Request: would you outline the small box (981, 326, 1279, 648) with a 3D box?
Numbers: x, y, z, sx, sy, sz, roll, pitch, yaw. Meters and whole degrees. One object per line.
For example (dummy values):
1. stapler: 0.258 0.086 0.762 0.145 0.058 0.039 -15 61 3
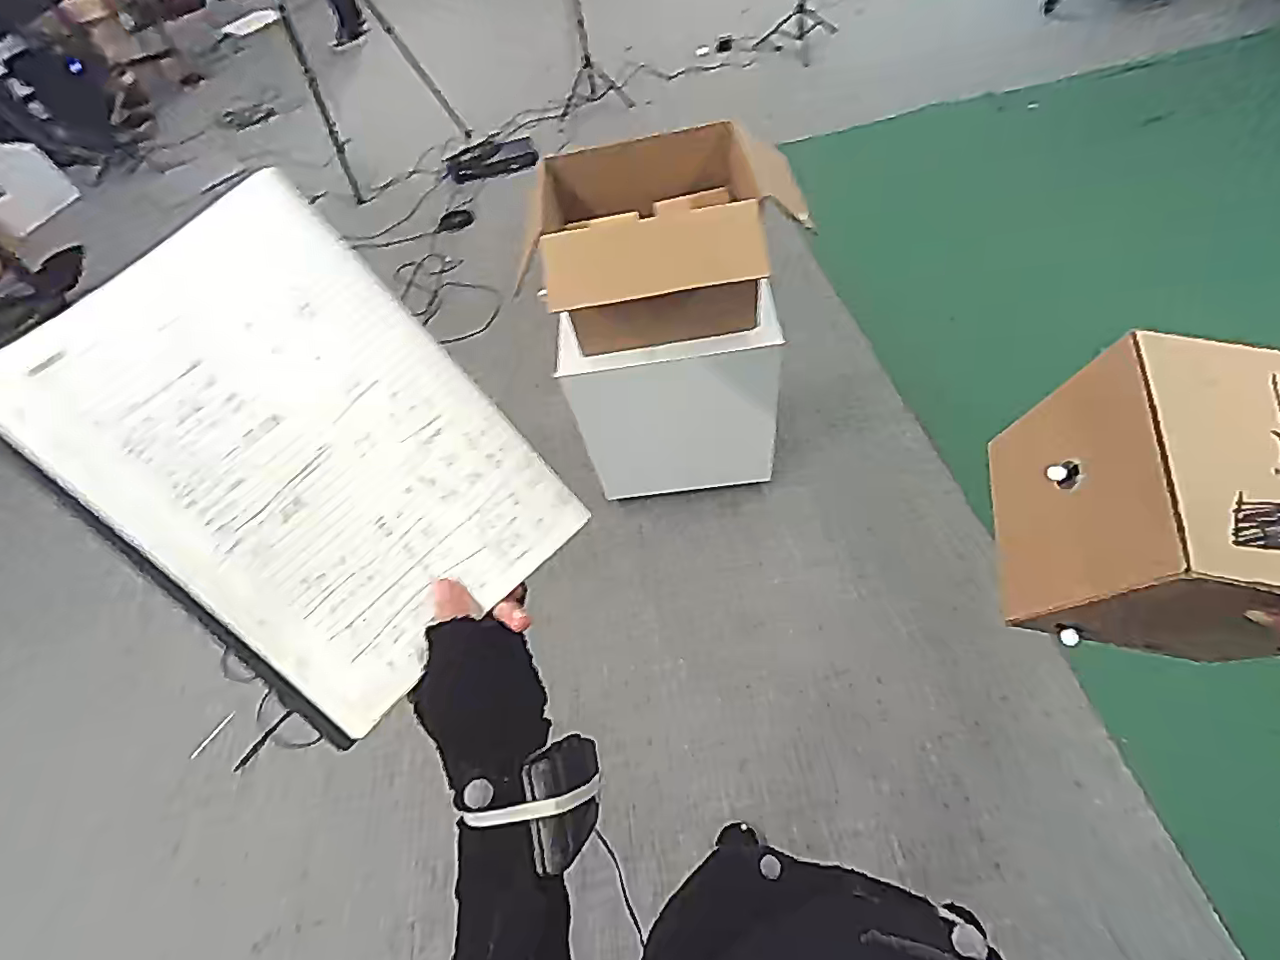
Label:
1. small box: 0.391 0.017 0.407 0.168 0.176 0.179 10 64 3
